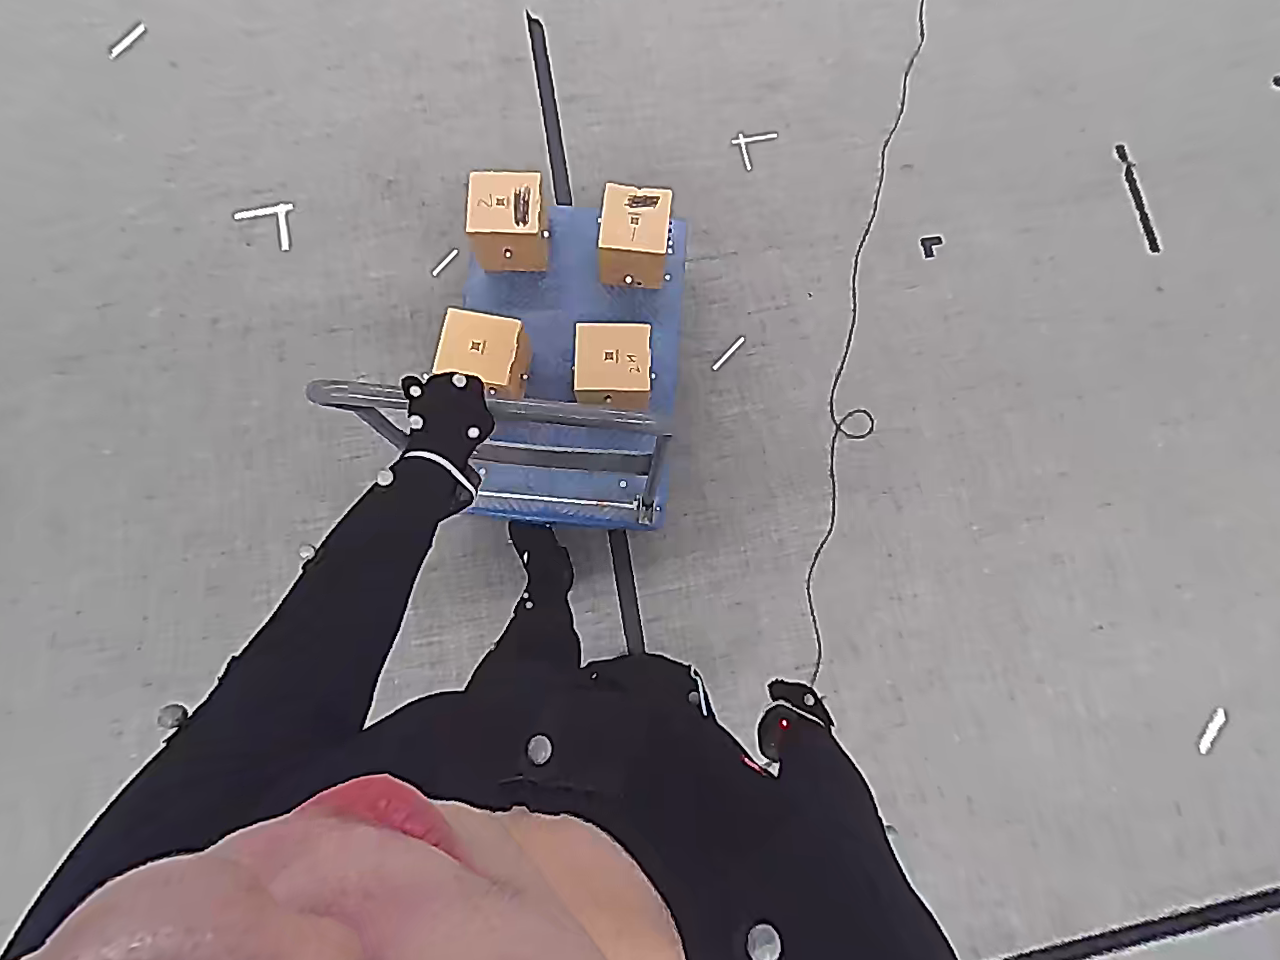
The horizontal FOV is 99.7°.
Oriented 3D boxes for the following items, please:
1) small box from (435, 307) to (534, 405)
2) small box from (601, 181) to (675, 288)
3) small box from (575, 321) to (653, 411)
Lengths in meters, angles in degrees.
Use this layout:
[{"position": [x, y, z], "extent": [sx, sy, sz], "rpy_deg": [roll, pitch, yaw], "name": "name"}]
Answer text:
[{"position": [-0.368, -0.294, 1.313], "extent": [0.179, 0.176, 0.168], "rpy_deg": [10, 79, -1], "name": "small box"}, {"position": [-0.007, -0.622, 1.384], "extent": [0.168, 0.176, 0.179], "rpy_deg": [6, 80, 0], "name": "small box"}, {"position": [-0.059, -0.271, 1.316], "extent": [0.179, 0.176, 0.168], "rpy_deg": [1, 80, -1], "name": "small box"}]
